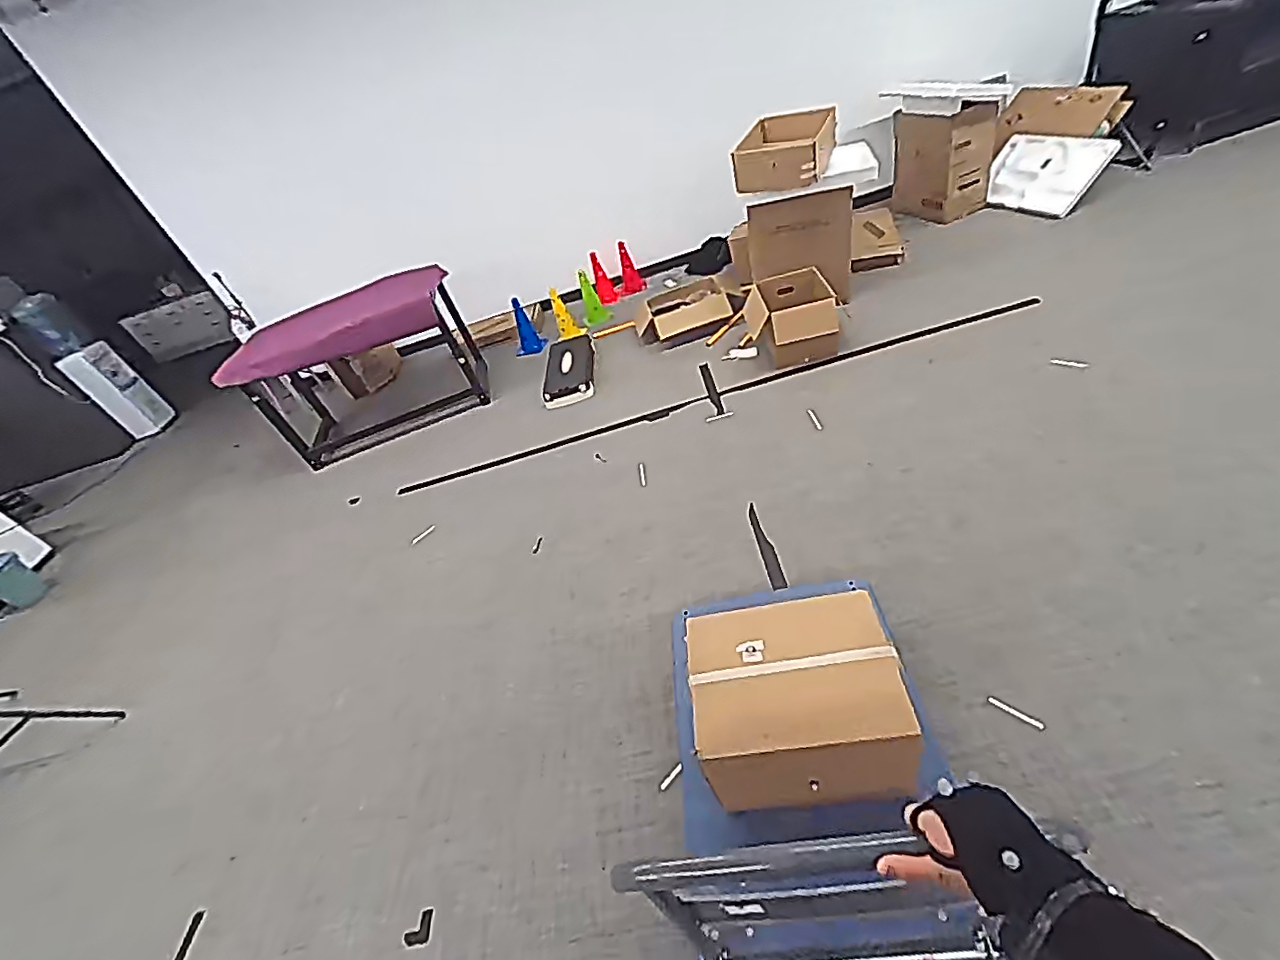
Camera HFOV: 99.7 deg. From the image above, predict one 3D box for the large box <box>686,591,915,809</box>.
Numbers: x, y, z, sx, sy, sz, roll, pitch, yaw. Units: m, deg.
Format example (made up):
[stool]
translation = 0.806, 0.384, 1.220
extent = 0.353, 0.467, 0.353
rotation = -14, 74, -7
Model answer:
[large box]
translation = 0.343, 0.495, 1.202
extent = 0.408, 0.320, 0.320
rotation = -14, 39, 11
